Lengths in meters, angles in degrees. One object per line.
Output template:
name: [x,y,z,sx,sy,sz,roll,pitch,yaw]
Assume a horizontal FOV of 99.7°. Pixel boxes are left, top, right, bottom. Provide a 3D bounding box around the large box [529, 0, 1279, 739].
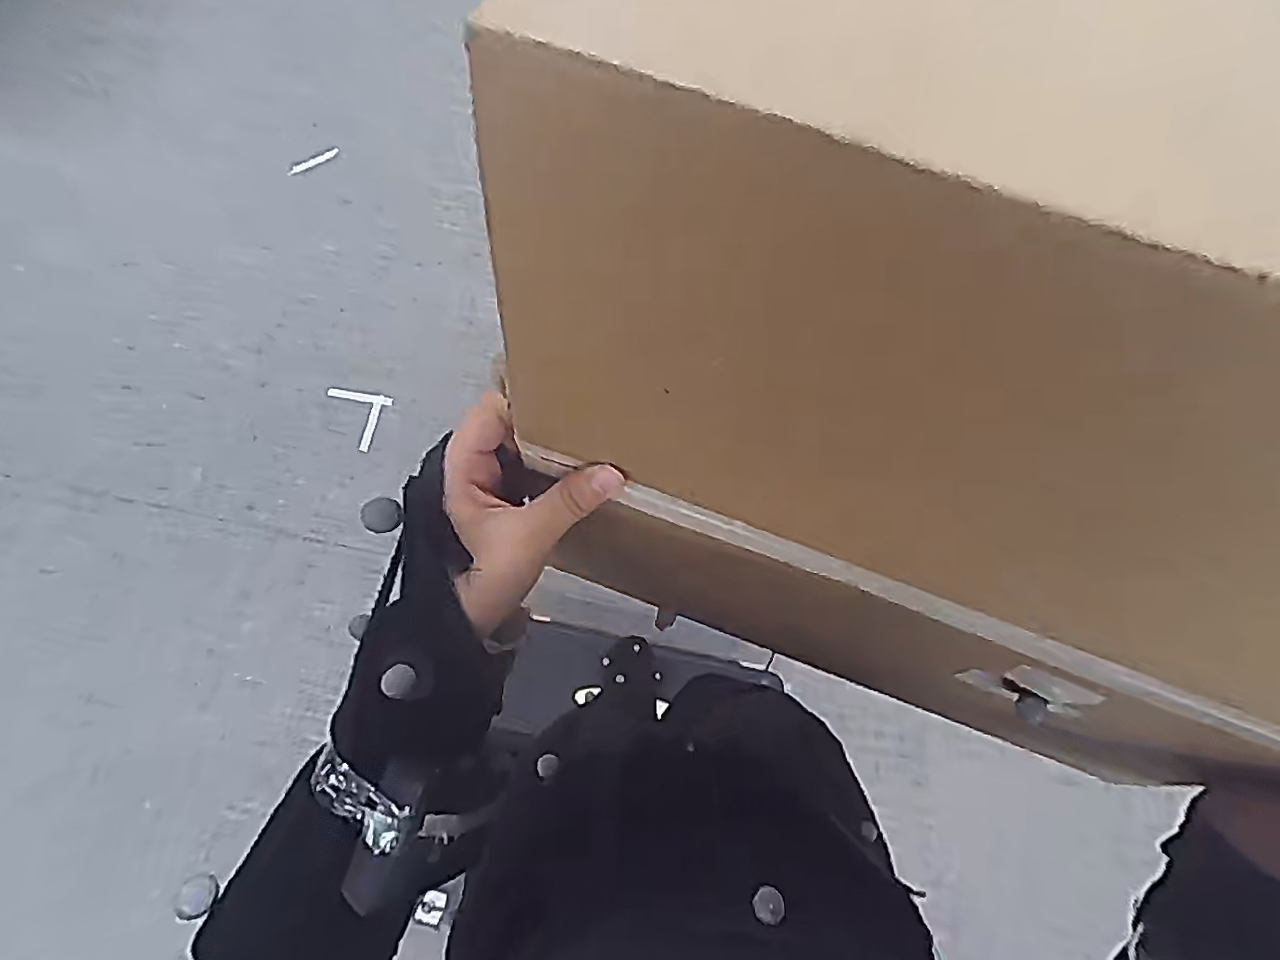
large box: [0.194,-0.099,0.292,0.408,0.320,0.320,19,62,3]
